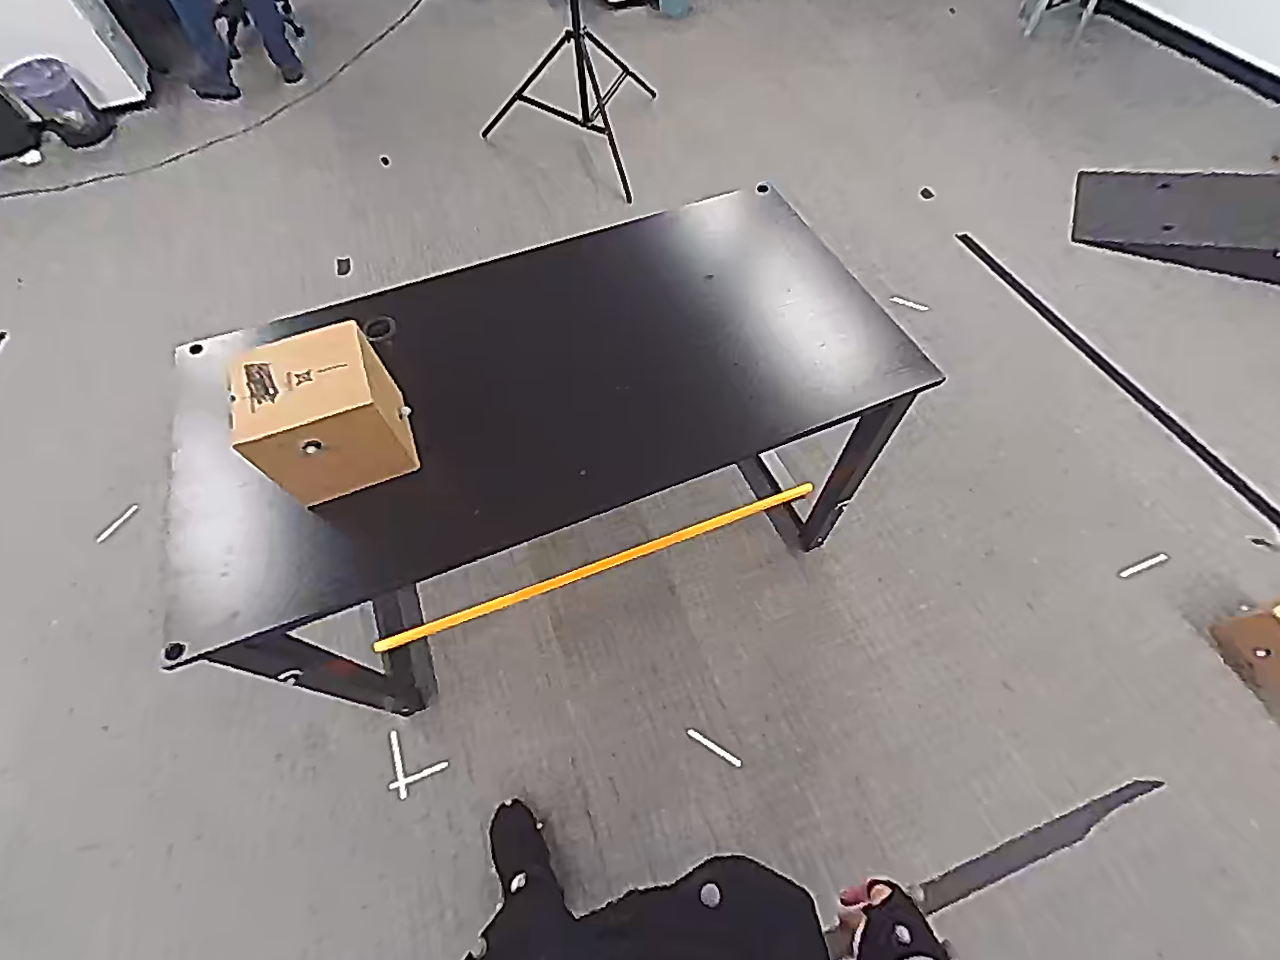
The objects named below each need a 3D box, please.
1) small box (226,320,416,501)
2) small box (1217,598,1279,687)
[{"bbox_3d":[-0.453,-0.094,0.783,0.179,0.176,0.168,-20,61,-10],"label":"small box"},{"bbox_3d":[1.546,0.373,1.276,0.179,0.176,0.168,-18,61,-7],"label":"small box"}]
